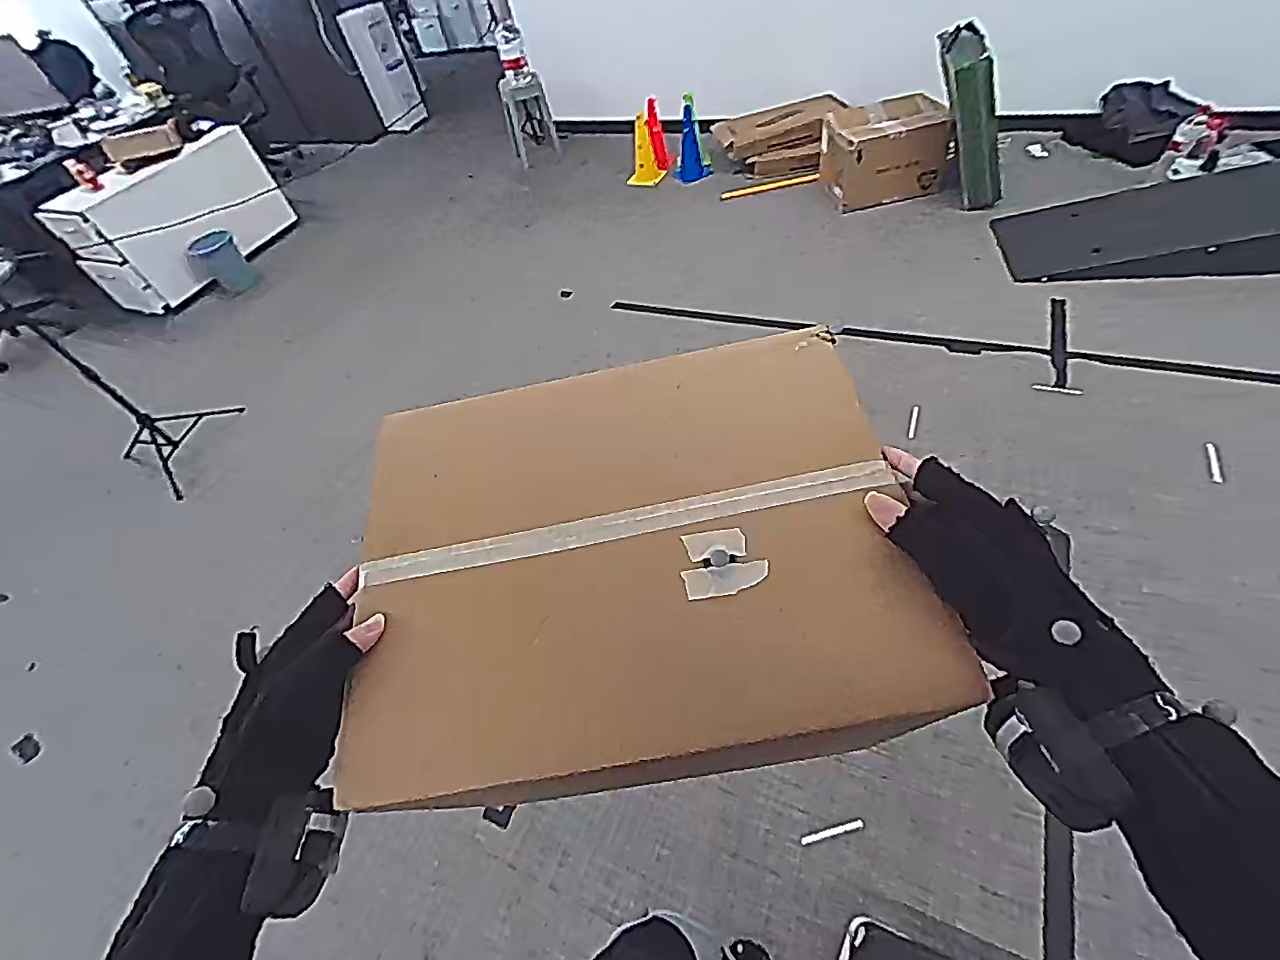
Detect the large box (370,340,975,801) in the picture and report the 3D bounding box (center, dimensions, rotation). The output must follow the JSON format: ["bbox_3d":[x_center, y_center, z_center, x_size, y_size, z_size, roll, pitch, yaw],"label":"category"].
[{"bbox_3d":[0.014,0.114,0.546,0.408,0.320,0.320,-11,59,2],"label":"large box"}]
